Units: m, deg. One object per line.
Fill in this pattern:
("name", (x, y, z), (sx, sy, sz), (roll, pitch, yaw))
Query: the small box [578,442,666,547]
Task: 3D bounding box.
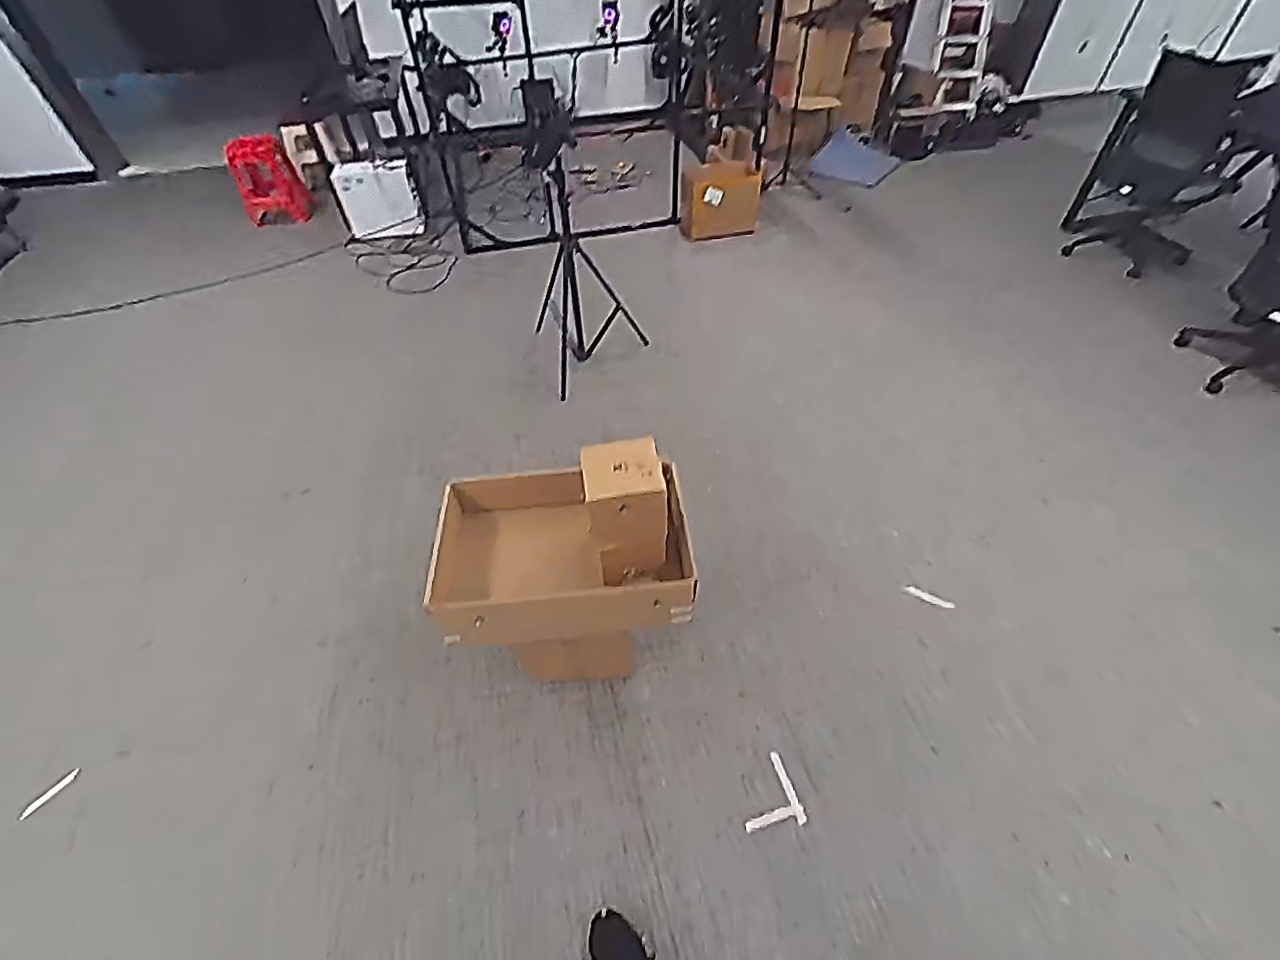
("small box", (-0.040, 0.037, 1.244), (0.179, 0.176, 0.168), (-8, 48, -4))
